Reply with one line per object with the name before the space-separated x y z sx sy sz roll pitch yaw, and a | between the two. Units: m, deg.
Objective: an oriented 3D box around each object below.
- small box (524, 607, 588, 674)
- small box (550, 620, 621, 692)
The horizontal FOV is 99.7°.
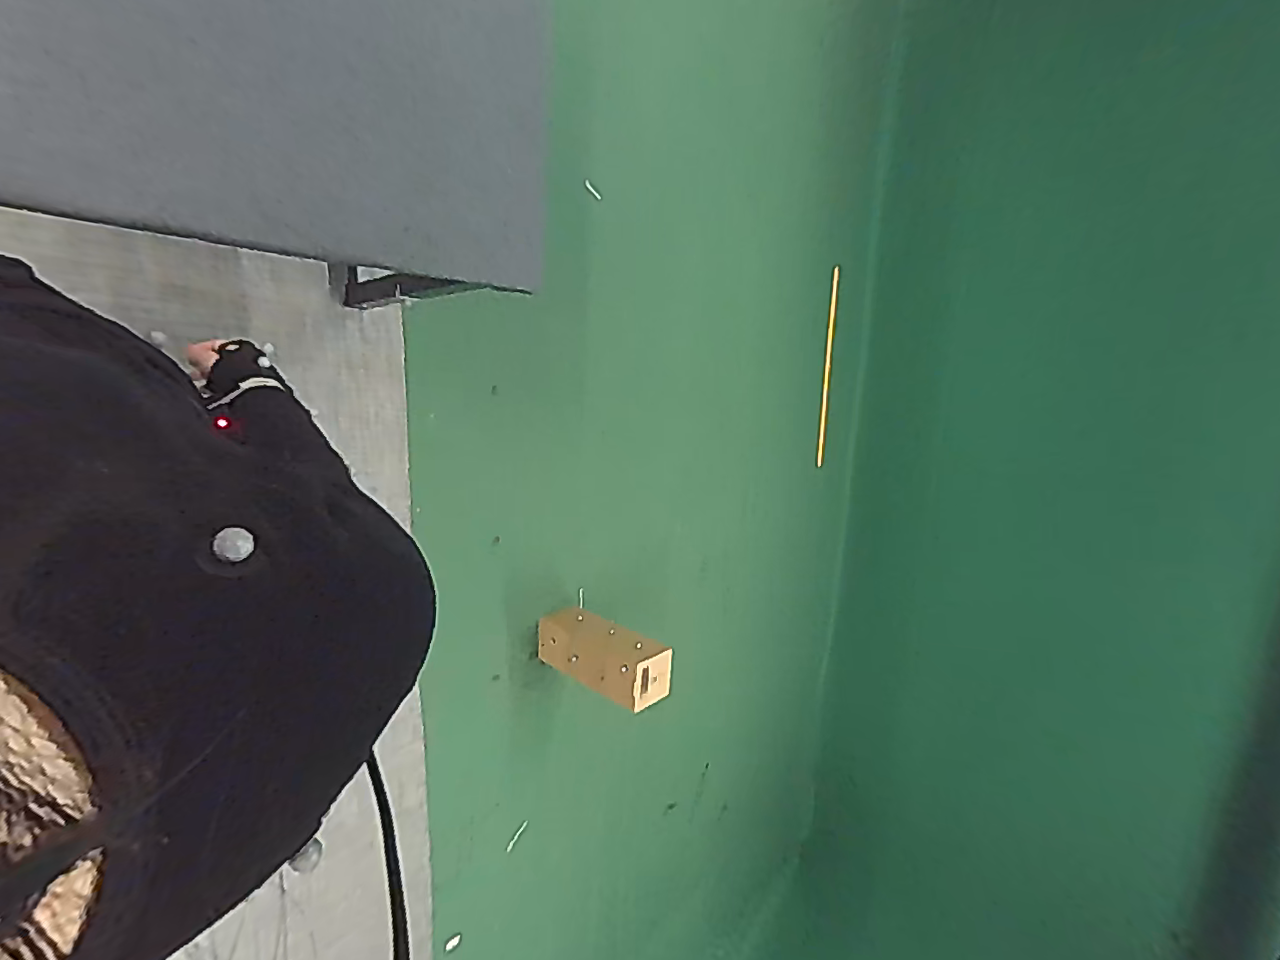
small box | -0.315 0.587 2.001 0.179 0.176 0.168 -8 104 -48
small box | -0.191 0.608 1.893 0.179 0.176 0.168 -4 101 -48
